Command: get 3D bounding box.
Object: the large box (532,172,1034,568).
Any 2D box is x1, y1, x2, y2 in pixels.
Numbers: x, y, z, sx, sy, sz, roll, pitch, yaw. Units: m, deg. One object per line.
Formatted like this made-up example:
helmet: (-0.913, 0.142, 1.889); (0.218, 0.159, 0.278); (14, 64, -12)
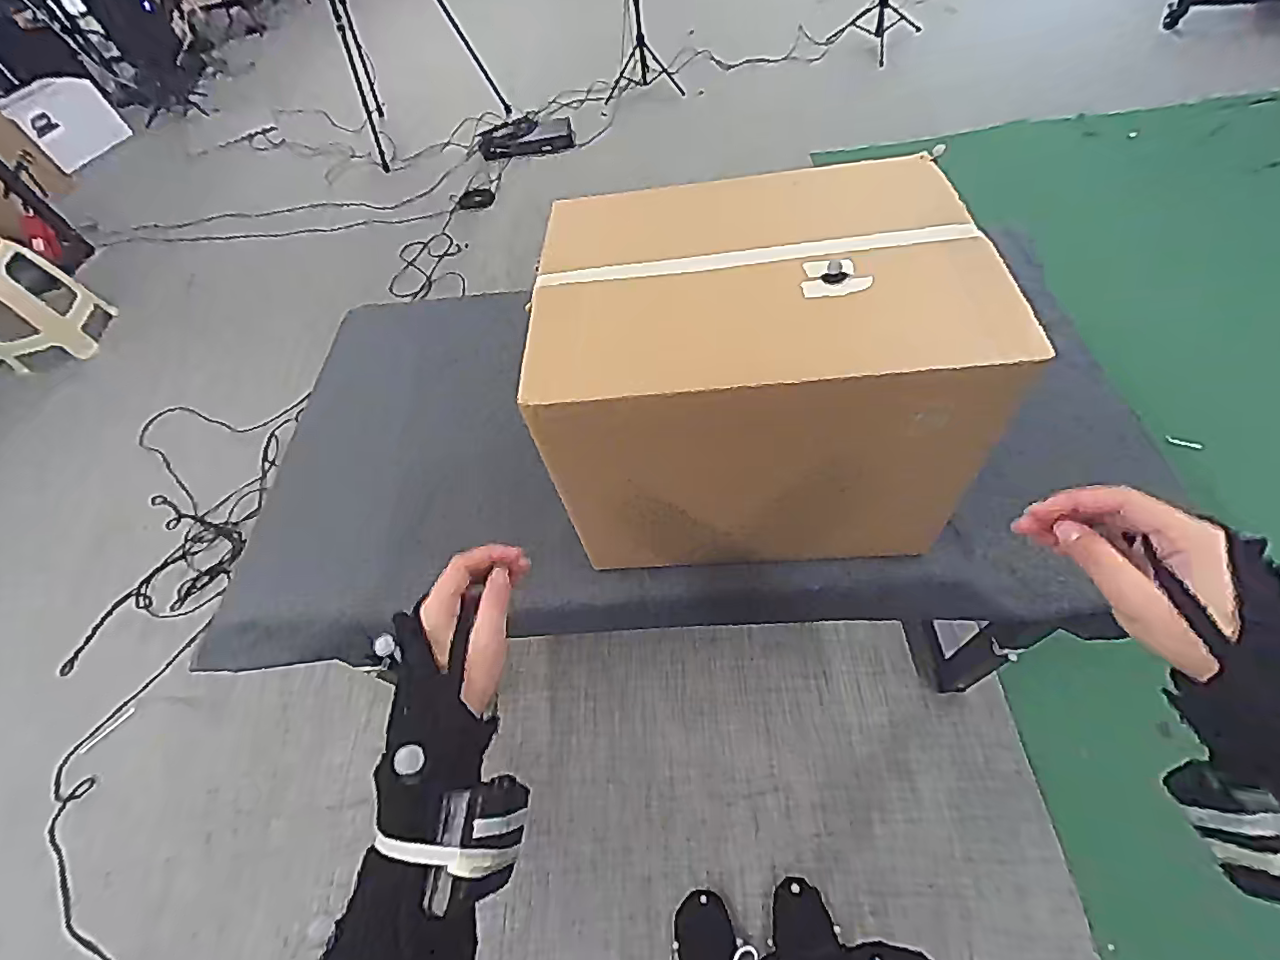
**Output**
large box: (0.121, -0.110, 0.634); (0.408, 0.320, 0.320); (-4, 54, 6)
